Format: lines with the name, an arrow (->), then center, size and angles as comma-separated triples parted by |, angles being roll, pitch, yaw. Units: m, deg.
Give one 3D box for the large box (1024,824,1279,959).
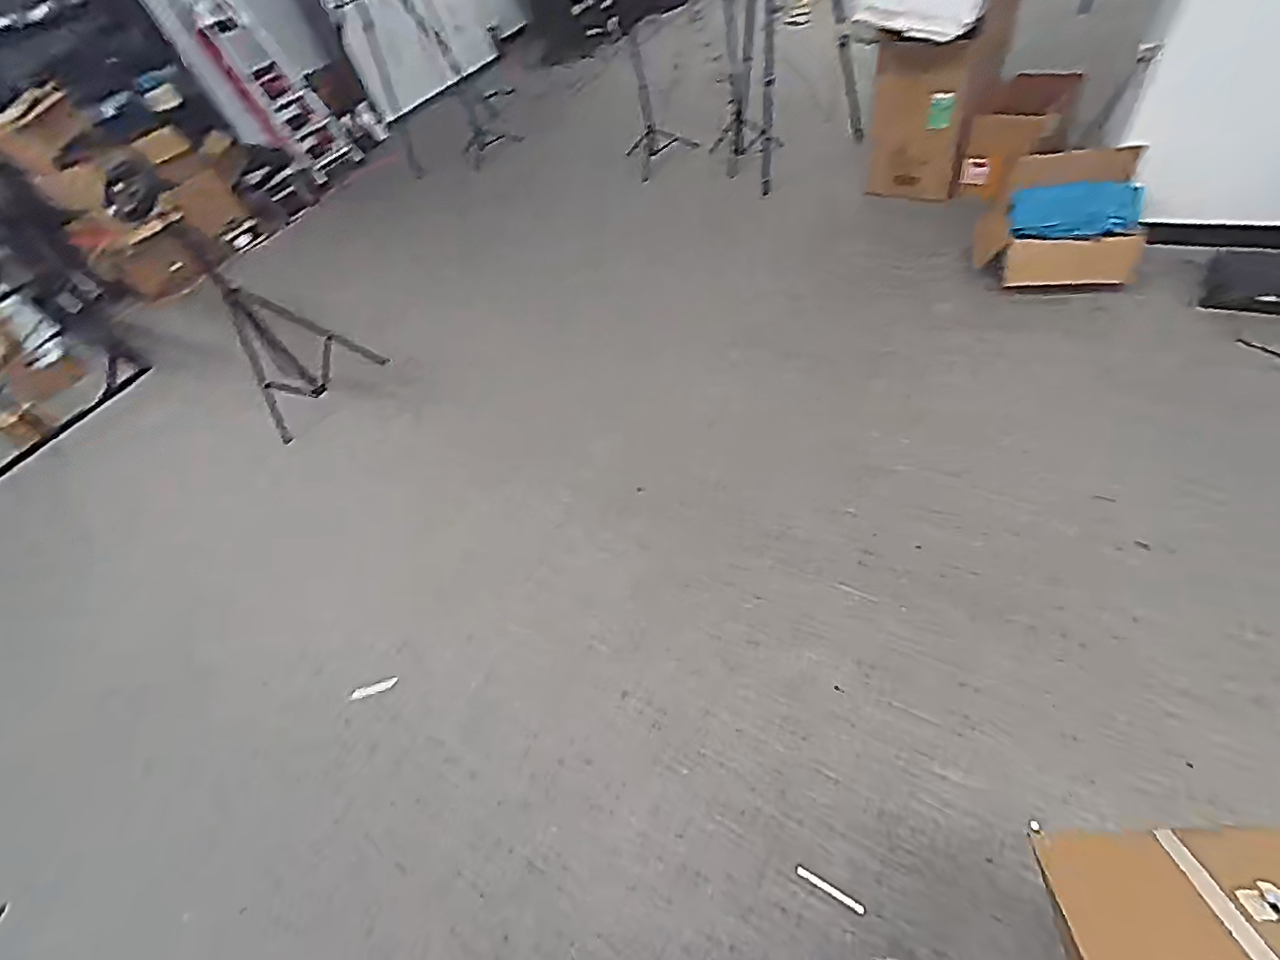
large box -> 0.683, 0.642, 0.558 | 0.320, 0.408, 0.320 | -16, 87, 20
